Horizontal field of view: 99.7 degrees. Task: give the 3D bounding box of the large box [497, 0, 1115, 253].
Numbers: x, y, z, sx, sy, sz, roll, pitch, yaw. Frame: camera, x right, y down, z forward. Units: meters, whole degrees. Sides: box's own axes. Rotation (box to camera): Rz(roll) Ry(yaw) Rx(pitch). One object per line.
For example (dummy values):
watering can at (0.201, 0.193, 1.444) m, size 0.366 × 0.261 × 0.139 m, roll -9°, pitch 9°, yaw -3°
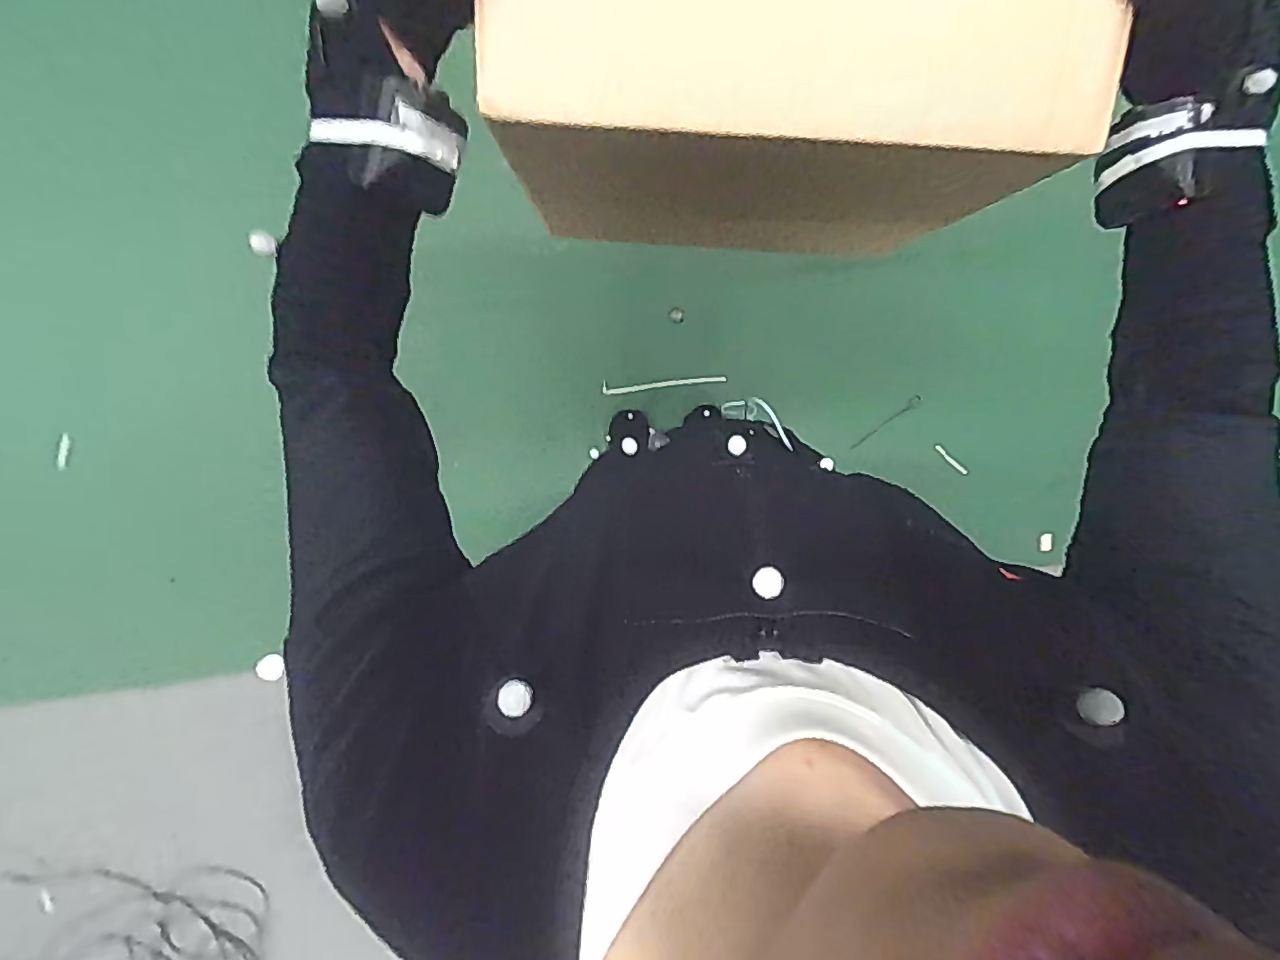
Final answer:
large box at (0.104, -0.404, 0.477) m, size 0.408 × 0.320 × 0.320 m, roll 2°, pitch 100°, yaw -3°
